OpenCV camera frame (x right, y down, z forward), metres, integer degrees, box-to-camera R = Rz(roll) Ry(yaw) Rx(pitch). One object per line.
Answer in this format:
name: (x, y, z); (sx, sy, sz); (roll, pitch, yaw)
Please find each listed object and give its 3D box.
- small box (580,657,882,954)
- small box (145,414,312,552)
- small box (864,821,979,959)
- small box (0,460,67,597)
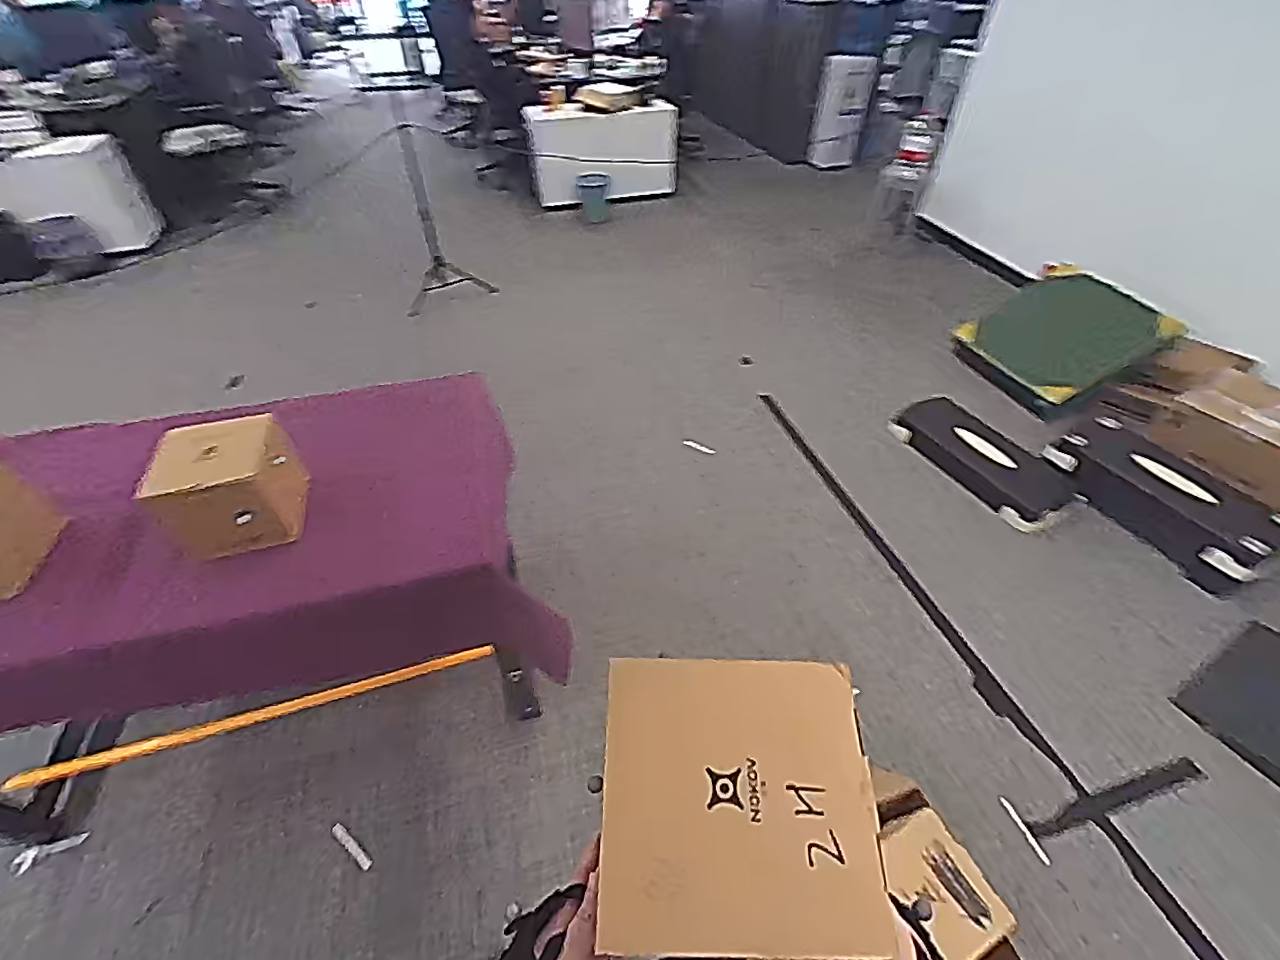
small box: (0.052, 0.241, 0.416); (0.179, 0.176, 0.168); (1, 58, -1)
small box: (-0.714, 0.011, 0.966); (0.168, 0.176, 0.179); (-12, 46, -12)
small box: (0.457, 0.769, 0.983); (0.168, 0.176, 0.179); (-31, 56, -22)
small box: (-1.123, 0.090, 0.888); (0.168, 0.176, 0.179); (-9, 45, -9)
